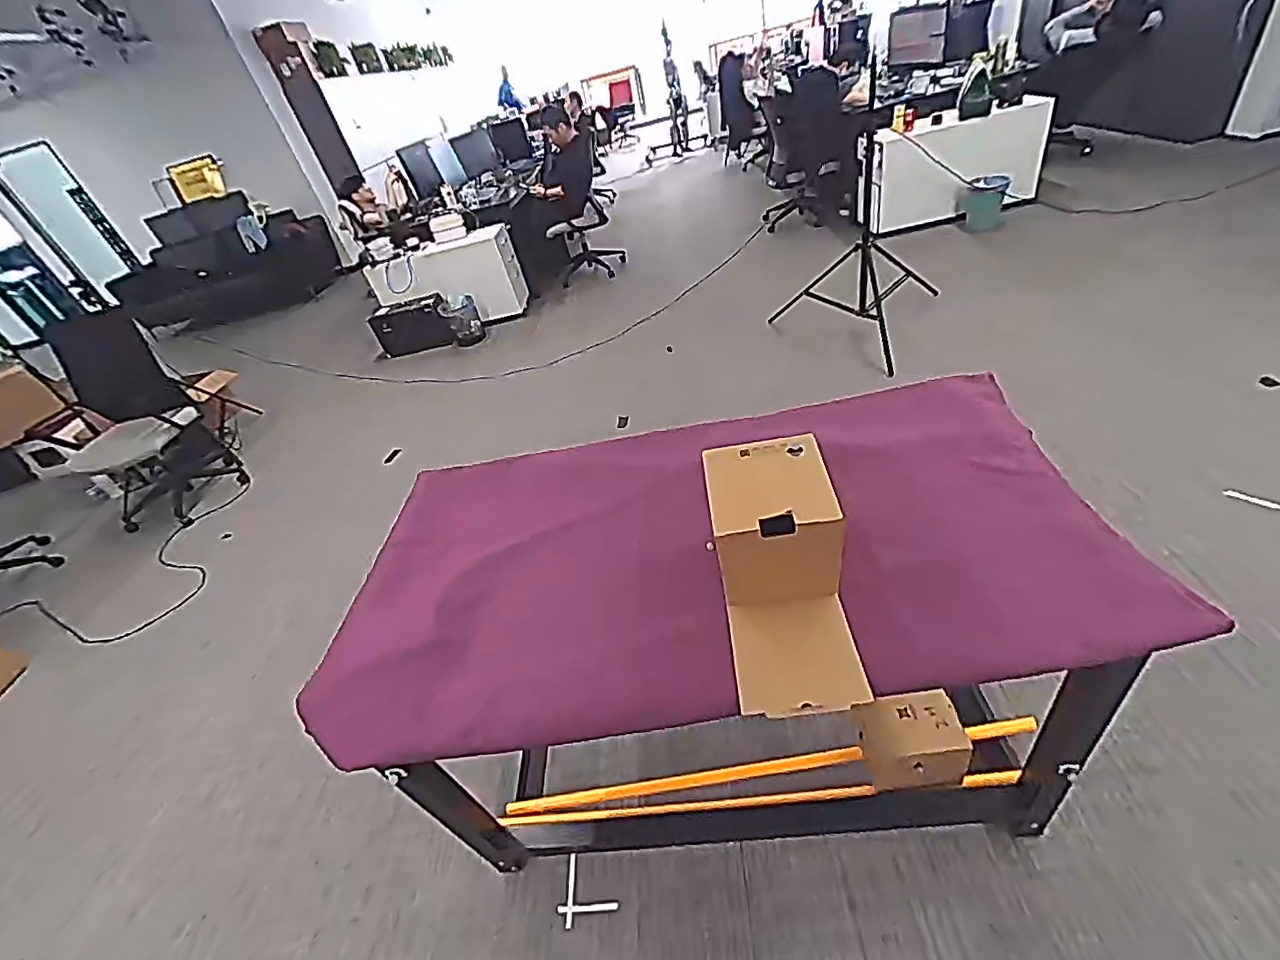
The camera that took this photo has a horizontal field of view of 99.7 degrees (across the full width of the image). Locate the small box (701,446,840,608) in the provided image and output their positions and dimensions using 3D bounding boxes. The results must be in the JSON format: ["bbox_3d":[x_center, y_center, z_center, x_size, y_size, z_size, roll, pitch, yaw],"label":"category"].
[{"bbox_3d":[0.186,0.064,0.803,0.168,0.179,0.176,-8,45,8],"label":"small box"}]

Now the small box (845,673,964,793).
[{"bbox_3d":[0.541,0.531,1.128,0.179,0.176,0.168,-11,39,7],"label":"small box"}]
